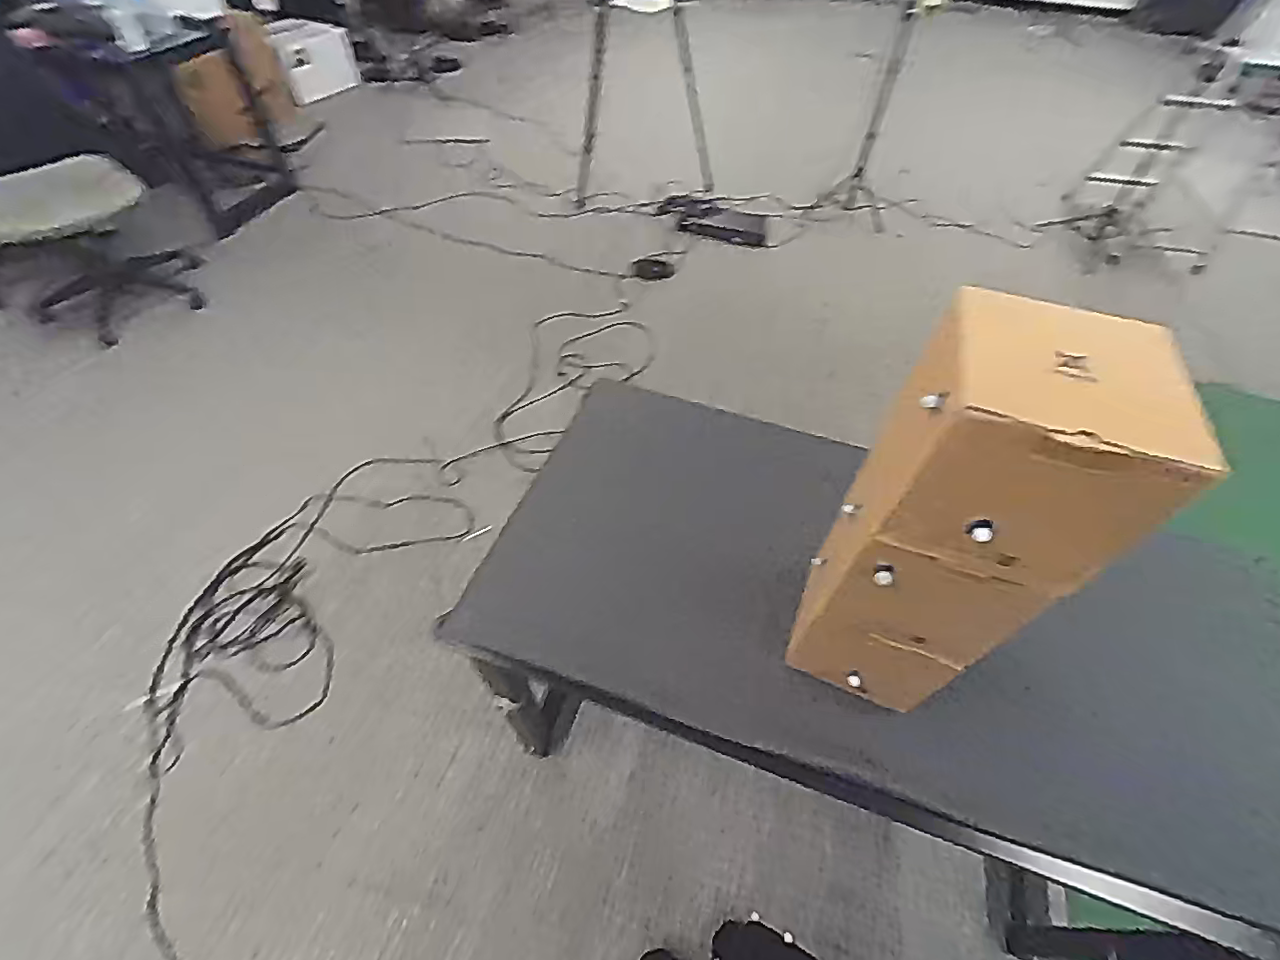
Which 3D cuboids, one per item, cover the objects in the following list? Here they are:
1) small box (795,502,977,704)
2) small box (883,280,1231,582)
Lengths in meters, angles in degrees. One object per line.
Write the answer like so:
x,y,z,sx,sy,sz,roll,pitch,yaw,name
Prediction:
0.322,0.166,0.728,0.168,0.176,0.179,20,53,14,small box
0.331,-0.042,0.476,0.168,0.176,0.179,17,52,11,small box
